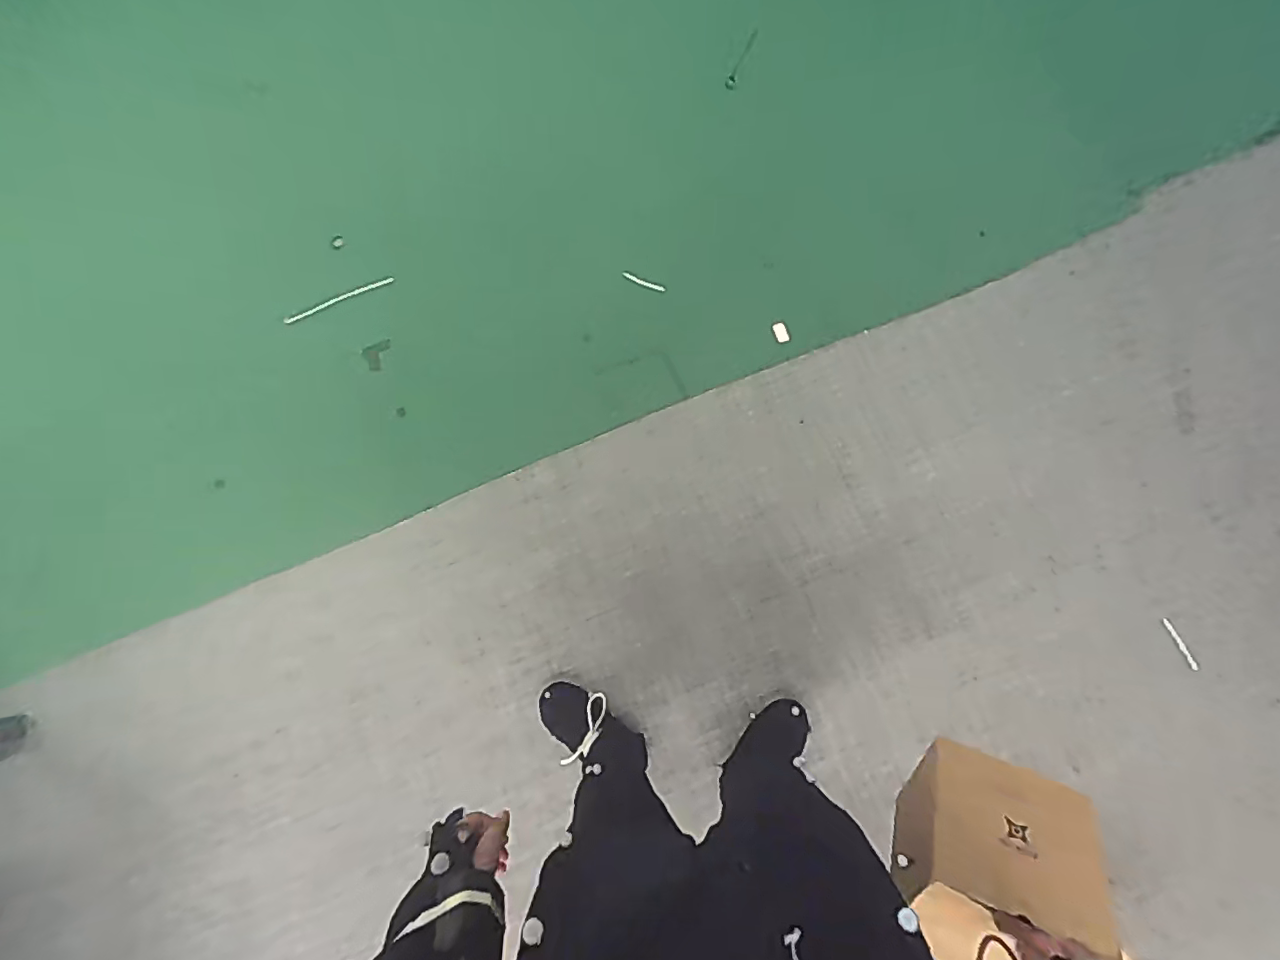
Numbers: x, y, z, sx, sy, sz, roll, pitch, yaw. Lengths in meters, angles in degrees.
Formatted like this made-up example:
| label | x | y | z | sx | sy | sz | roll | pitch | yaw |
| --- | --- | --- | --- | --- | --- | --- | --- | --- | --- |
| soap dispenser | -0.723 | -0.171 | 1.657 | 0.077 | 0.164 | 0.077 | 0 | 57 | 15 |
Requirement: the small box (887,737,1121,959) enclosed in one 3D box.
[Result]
| label | x | y | z | sx | sy | sz | roll | pitch | yaw |
| --- | --- | --- | --- | --- | --- | --- | --- | --- | --- |
| small box | 0.397 | 0.447 | 0.621 | 0.168 | 0.176 | 0.179 | 18 | 37 | 19 |
